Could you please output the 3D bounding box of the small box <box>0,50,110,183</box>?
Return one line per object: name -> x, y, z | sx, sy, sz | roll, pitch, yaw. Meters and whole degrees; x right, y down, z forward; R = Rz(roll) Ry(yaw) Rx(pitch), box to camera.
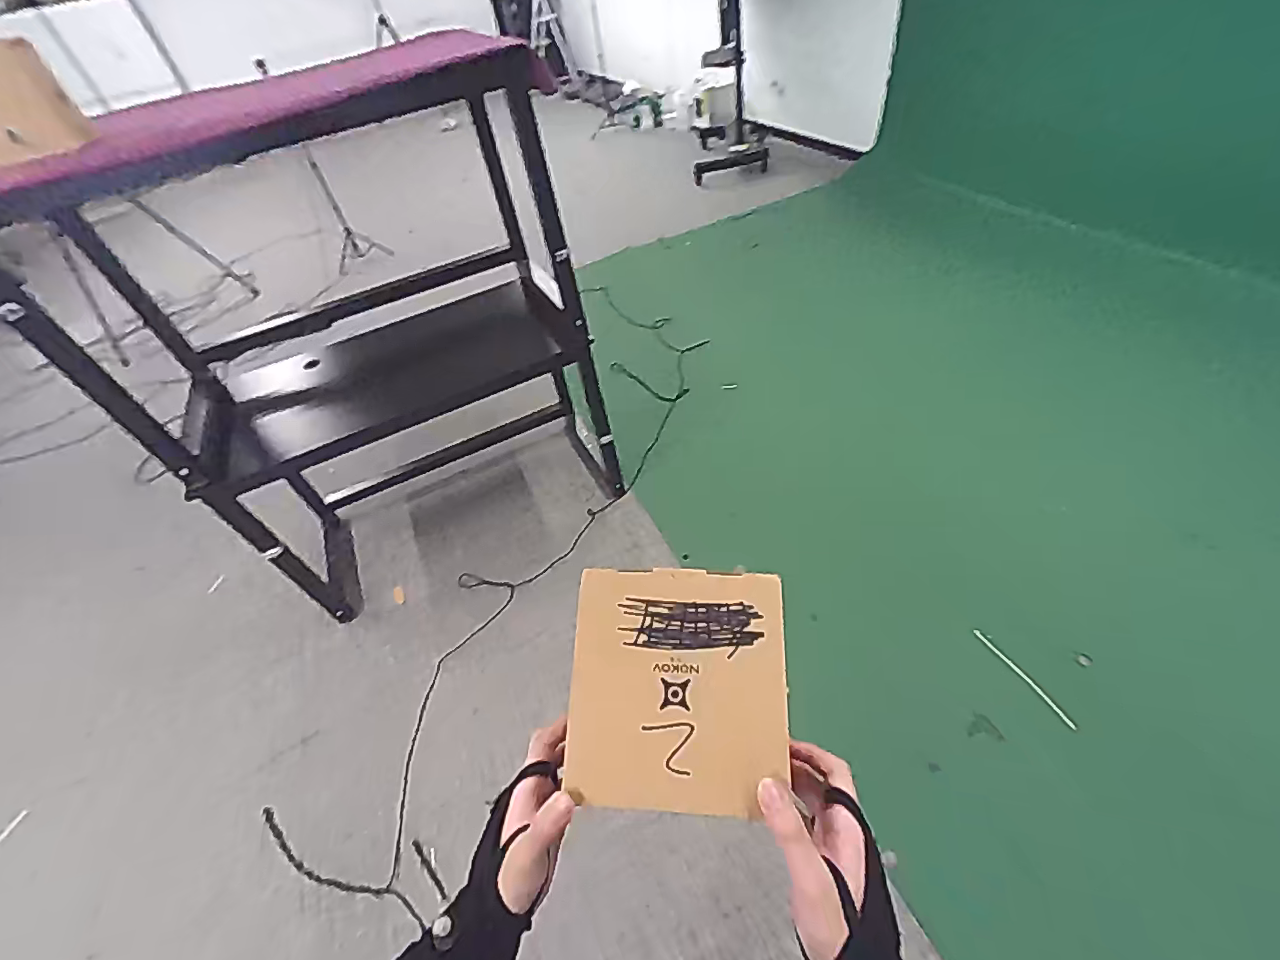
small box -> -1.170, -0.686, 1.020 | 0.179, 0.176, 0.168 | -26, 45, -14
